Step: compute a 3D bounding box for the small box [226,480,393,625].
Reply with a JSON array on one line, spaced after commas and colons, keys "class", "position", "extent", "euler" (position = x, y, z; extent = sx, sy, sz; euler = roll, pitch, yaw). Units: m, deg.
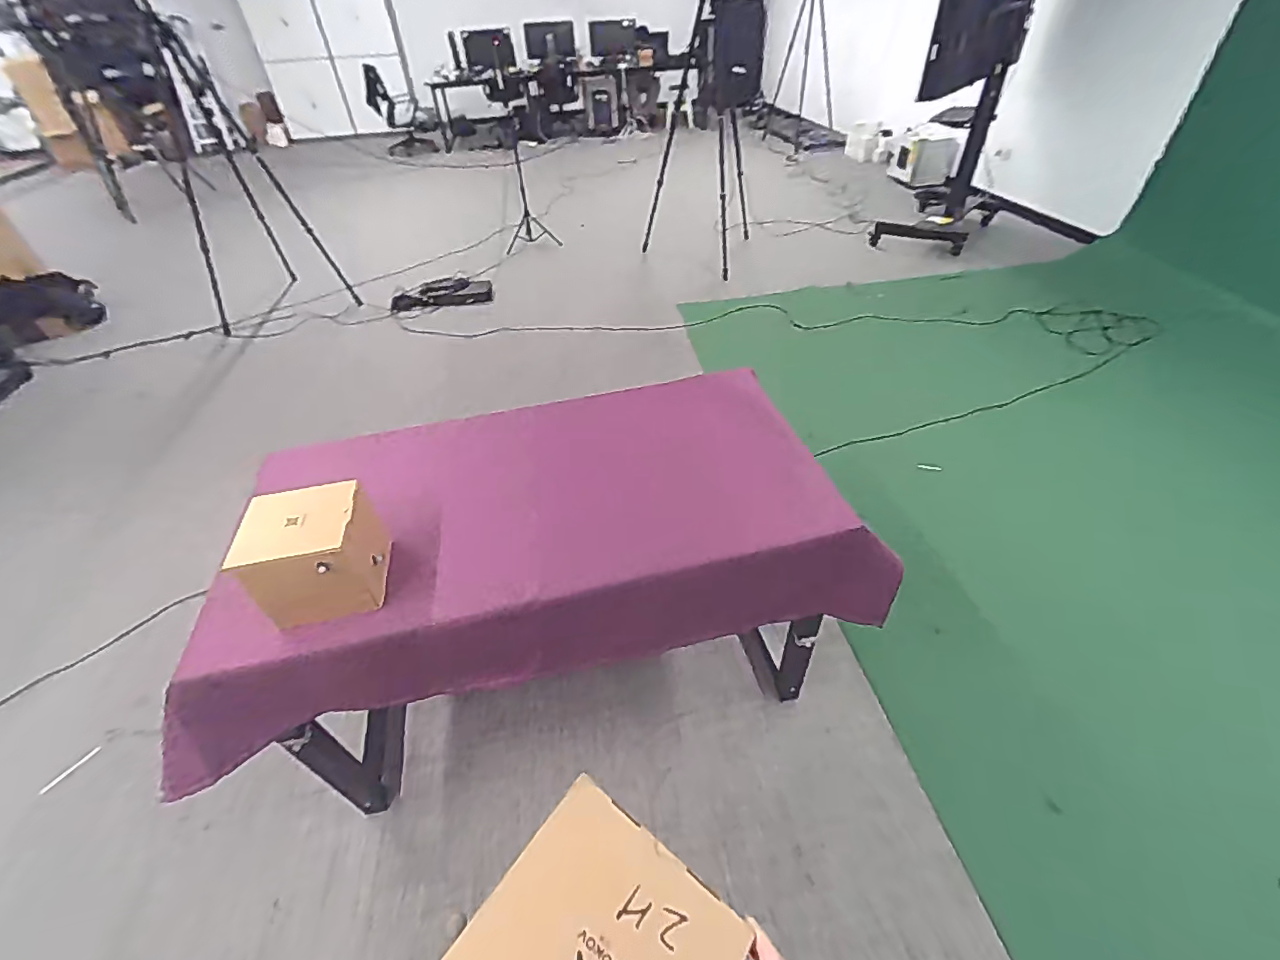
[{"class": "small box", "position": [-0.553, 0.127, 0.934], "extent": [0.179, 0.176, 0.168], "euler": [-10, 42, -9]}]
